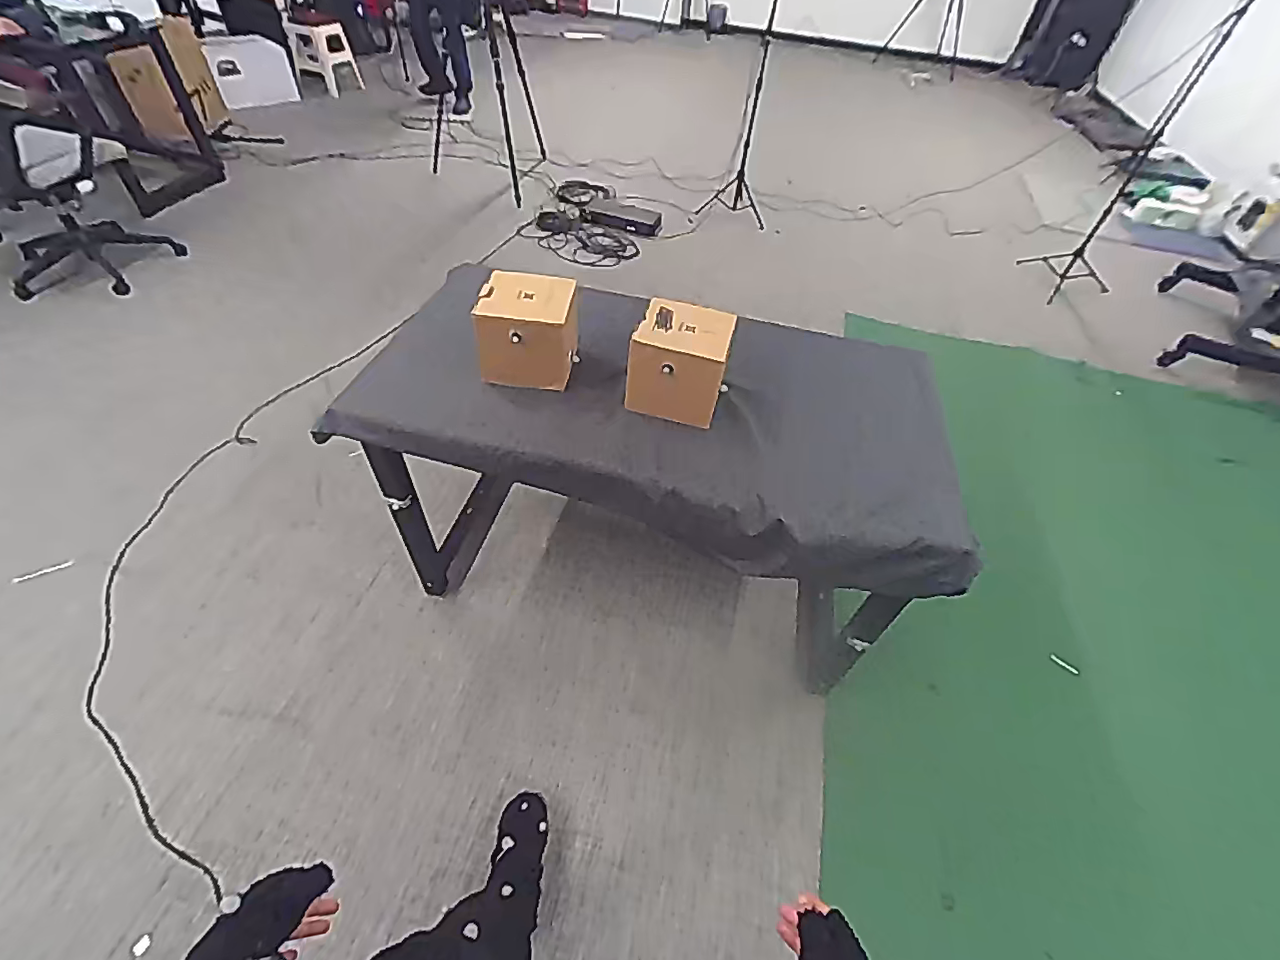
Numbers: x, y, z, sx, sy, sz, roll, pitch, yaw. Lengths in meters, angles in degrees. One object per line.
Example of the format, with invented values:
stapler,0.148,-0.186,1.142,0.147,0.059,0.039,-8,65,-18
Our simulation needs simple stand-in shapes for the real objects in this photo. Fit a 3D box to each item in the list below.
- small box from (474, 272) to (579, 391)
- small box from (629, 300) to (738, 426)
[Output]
small box,-0.224,-0.304,1.117,0.179,0.176,0.168,7,50,-1
small box,0.082,-0.231,1.083,0.179,0.176,0.168,15,49,6
